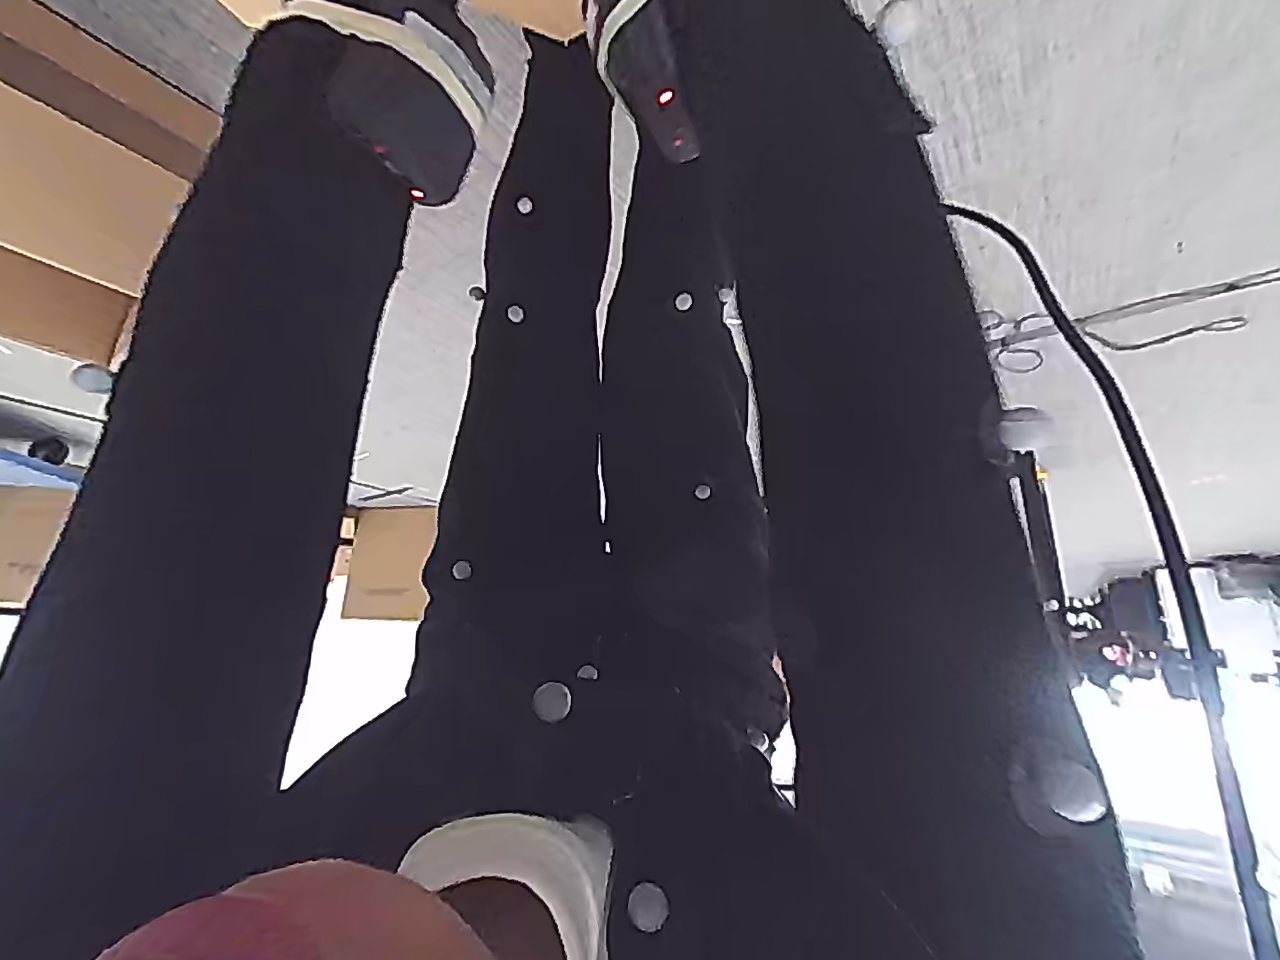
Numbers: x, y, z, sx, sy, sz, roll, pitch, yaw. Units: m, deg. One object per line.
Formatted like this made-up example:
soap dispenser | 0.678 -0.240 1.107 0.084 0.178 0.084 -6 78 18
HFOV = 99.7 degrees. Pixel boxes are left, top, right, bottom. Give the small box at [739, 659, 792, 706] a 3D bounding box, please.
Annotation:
small box | 0.529 0.848 2.279 0.179 0.176 0.168 -9 161 31
